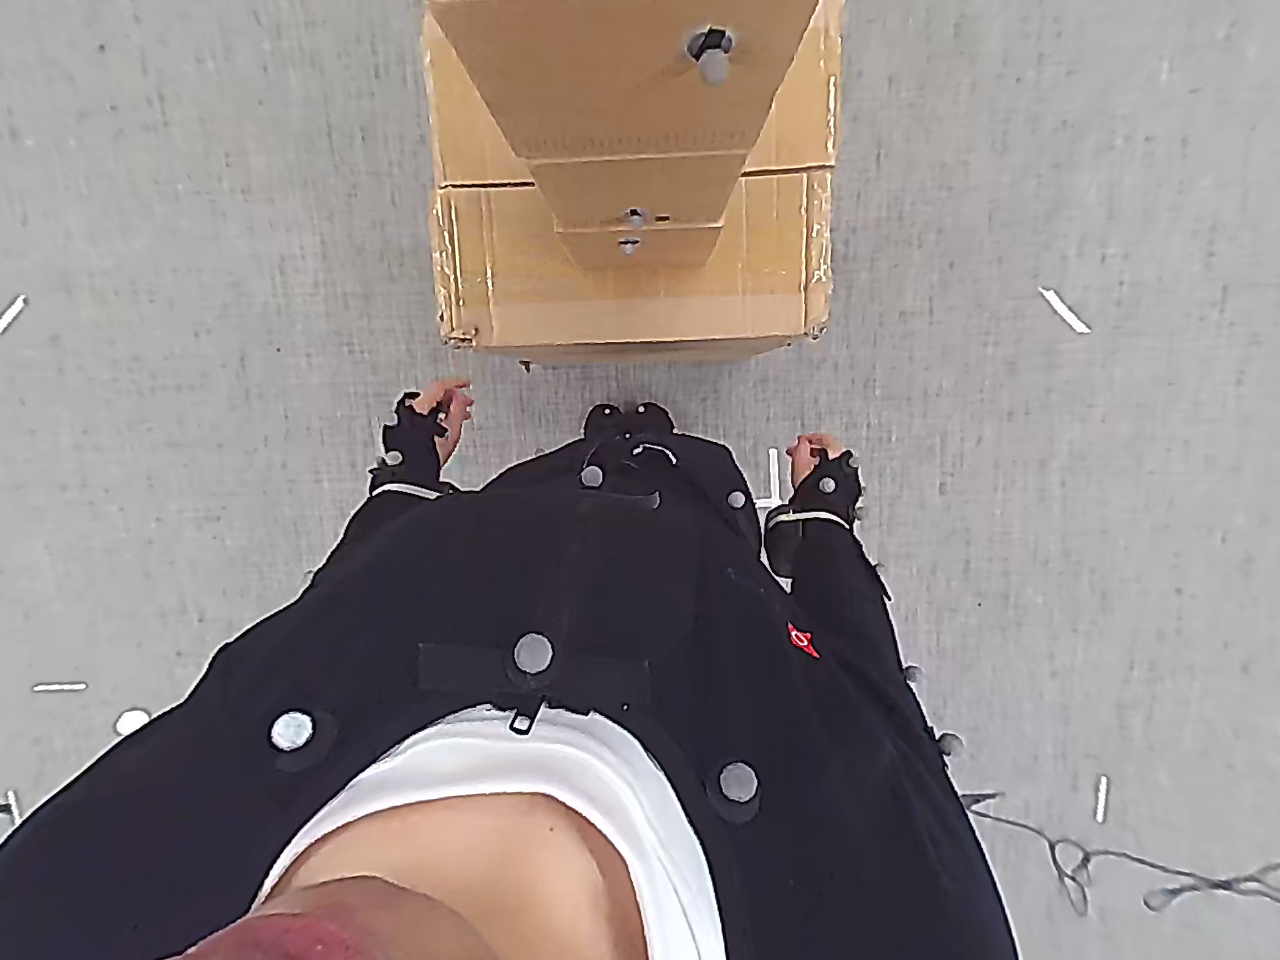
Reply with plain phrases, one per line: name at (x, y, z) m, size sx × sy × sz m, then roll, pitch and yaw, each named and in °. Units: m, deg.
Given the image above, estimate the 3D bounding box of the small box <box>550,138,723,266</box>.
small box at (-0.002, -0.348, 0.618) m, size 0.179 × 0.176 × 0.168 m, roll -1°, pitch 99°, yaw 1°

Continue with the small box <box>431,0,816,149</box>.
small box at (-0.008, -0.303, 0.292) m, size 0.179 × 0.176 × 0.168 m, roll -1°, pitch 99°, yaw 1°
